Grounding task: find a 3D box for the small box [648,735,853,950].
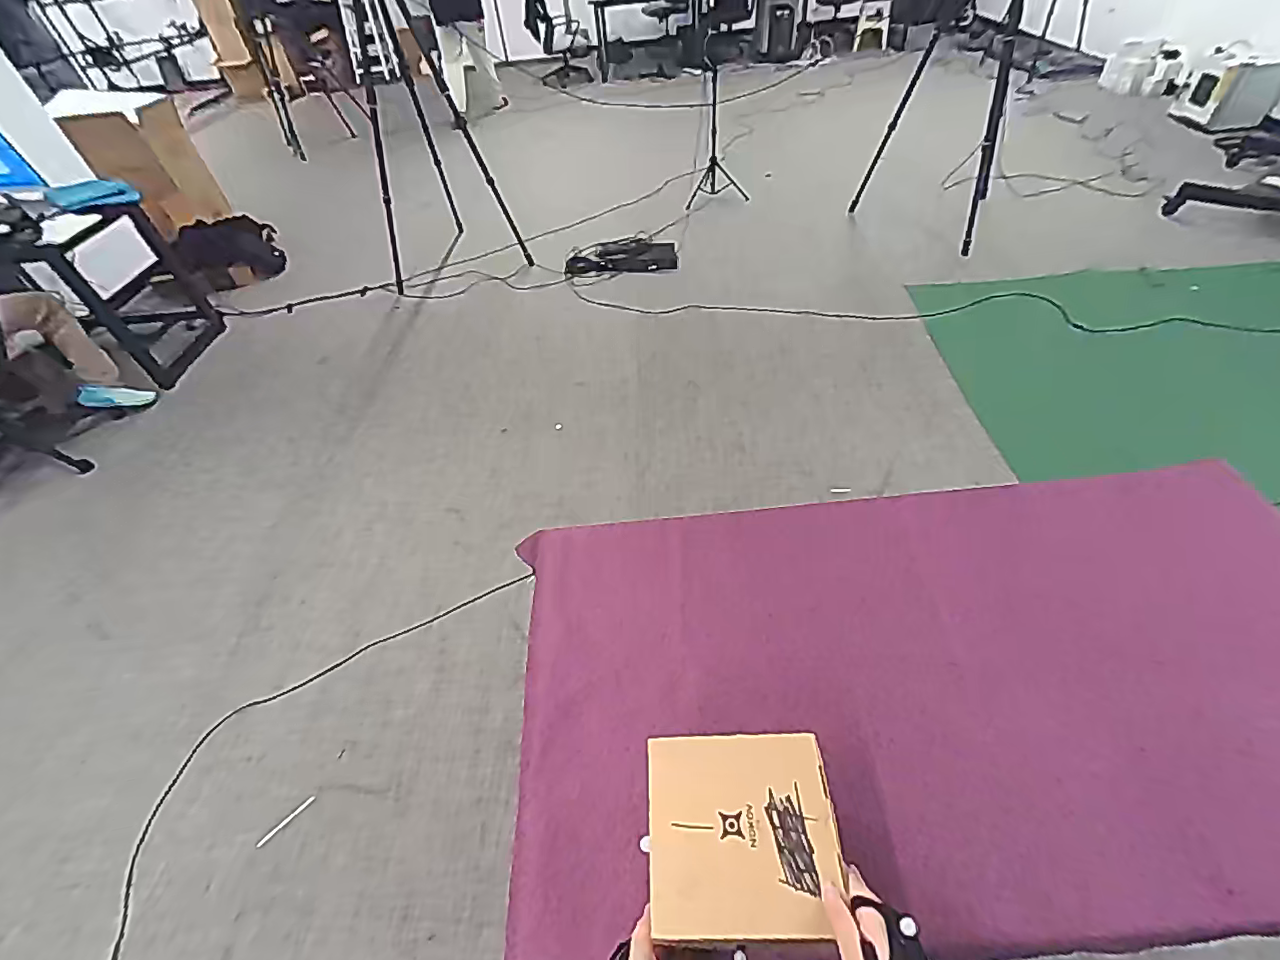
[{"bbox_3d":[0.101,0.382,0.570,0.179,0.176,0.168,-4,47,4],"label":"small box"}]
